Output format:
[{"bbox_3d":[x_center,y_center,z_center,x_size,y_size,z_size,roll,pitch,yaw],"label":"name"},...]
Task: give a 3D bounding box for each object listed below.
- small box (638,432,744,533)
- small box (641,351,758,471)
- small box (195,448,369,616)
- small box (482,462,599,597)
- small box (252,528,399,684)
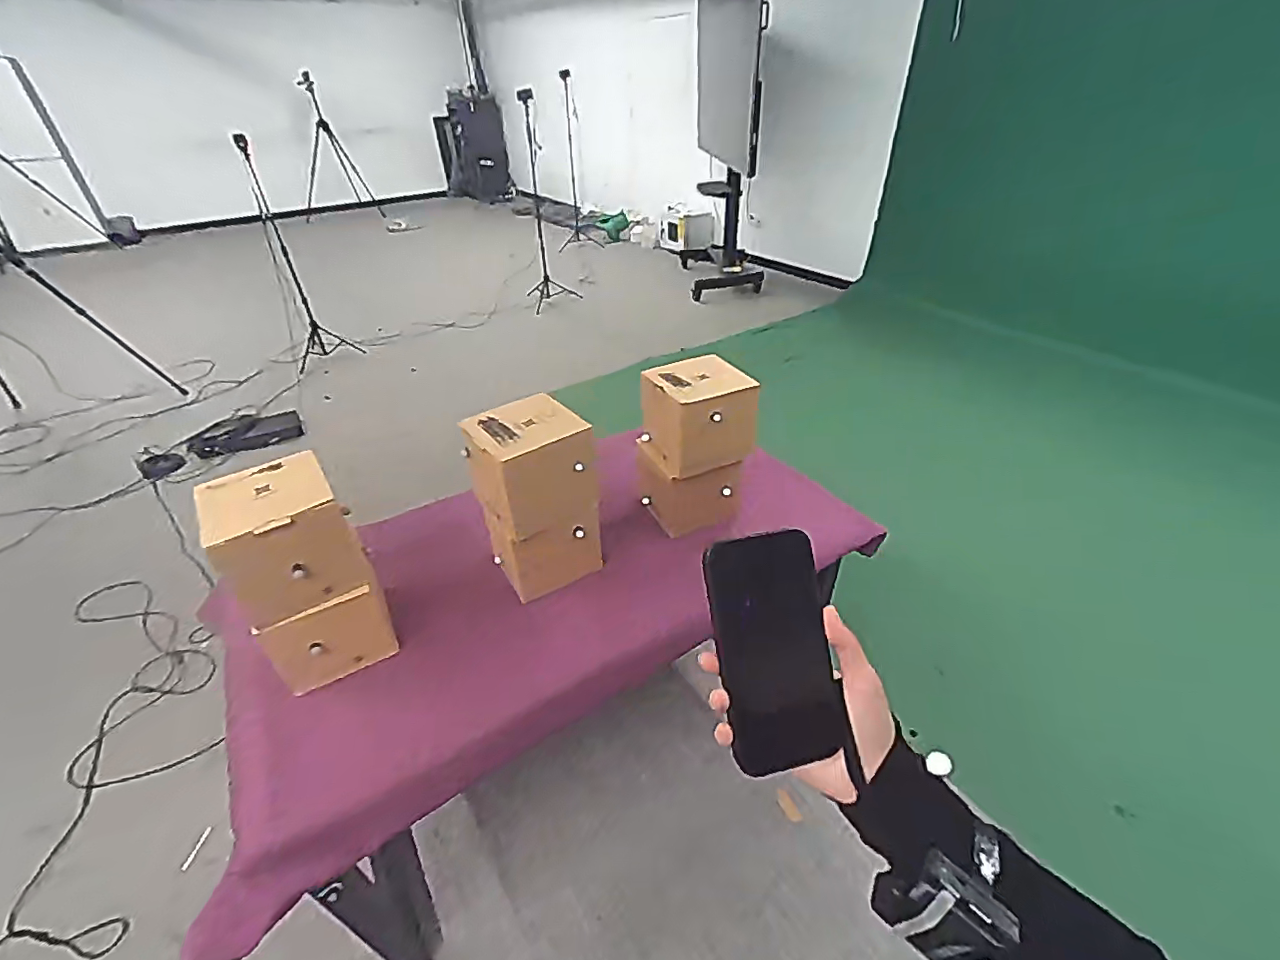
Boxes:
[{"bbox_3d":[0.107,-0.013,1.195,0.179,0.176,0.168,-18,39,-19],"label":"small box"},{"bbox_3d":[0.116,-0.139,1.091,0.179,0.176,0.168,-17,39,-20],"label":"small box"},{"bbox_3d":[-0.543,0.083,0.833,0.168,0.176,0.179,-25,43,-28],"label":"small box"},{"bbox_3d":[-0.189,0.095,1.067,0.179,0.176,0.168,-22,40,-24],"label":"small box"},{"bbox_3d":[-0.532,0.219,0.925,0.168,0.176,0.179,-21,40,-23],"label":"small box"}]
